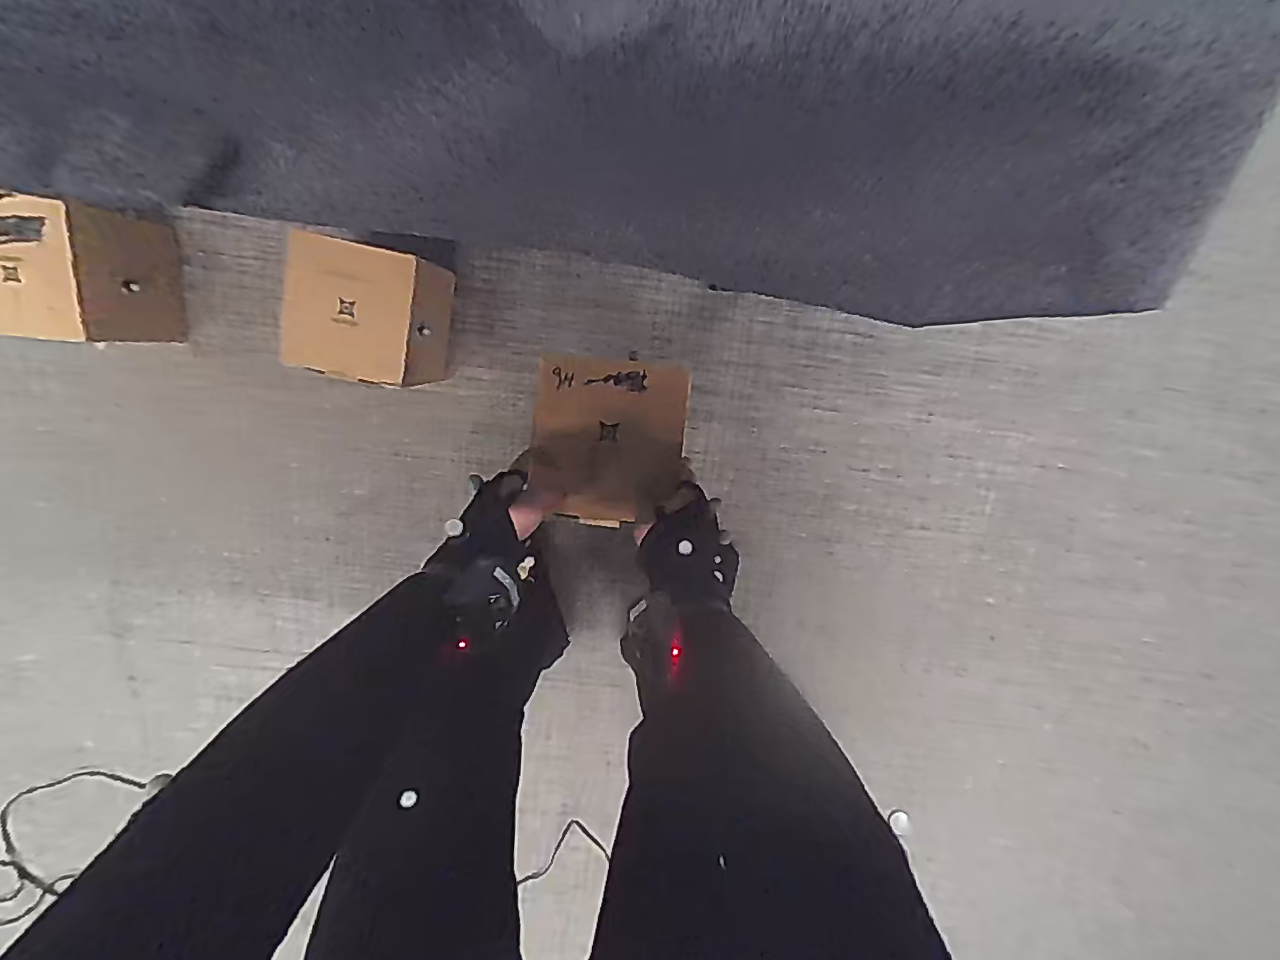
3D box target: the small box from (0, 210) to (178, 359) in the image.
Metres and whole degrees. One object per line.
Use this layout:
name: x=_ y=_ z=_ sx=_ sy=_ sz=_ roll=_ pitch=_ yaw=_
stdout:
small box: x=-0.802 y=-0.266 z=0.758 sx=0.168 sy=0.176 sz=0.179 roll=4 pitch=104 yaw=-1

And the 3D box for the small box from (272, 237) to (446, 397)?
small box: x=-0.391 y=-0.224 z=0.777 sx=0.168 sy=0.176 sz=0.179 roll=9 pitch=101 yaw=-5
